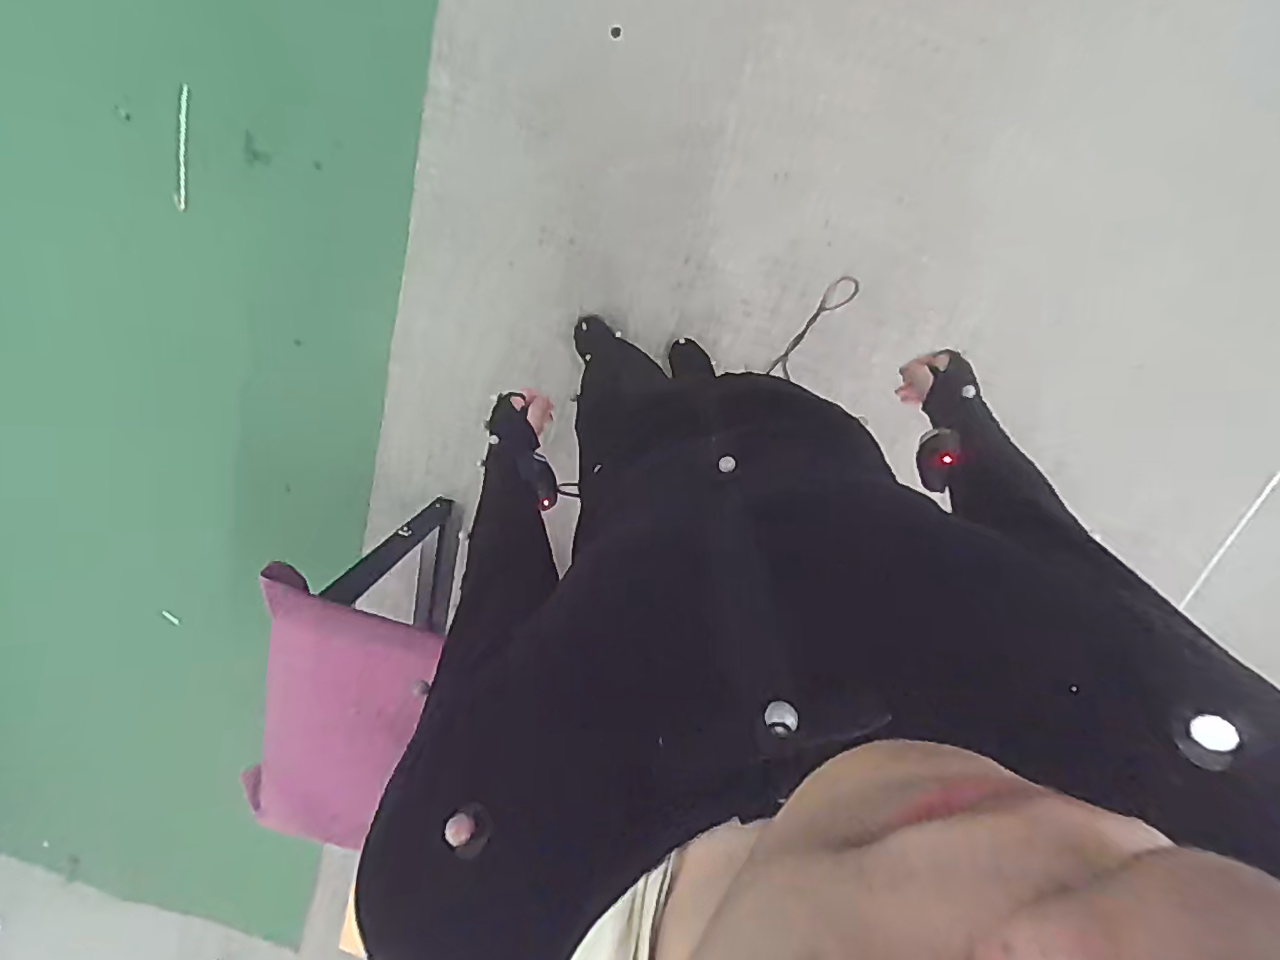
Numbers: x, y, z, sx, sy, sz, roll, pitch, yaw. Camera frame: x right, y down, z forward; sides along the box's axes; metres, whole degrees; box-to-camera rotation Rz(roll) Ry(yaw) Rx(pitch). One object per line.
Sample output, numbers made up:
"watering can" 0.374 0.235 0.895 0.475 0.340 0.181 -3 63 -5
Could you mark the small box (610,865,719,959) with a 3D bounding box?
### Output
"small box" 0.037 0.798 0.904 0.168 0.176 0.179 11 108 3
